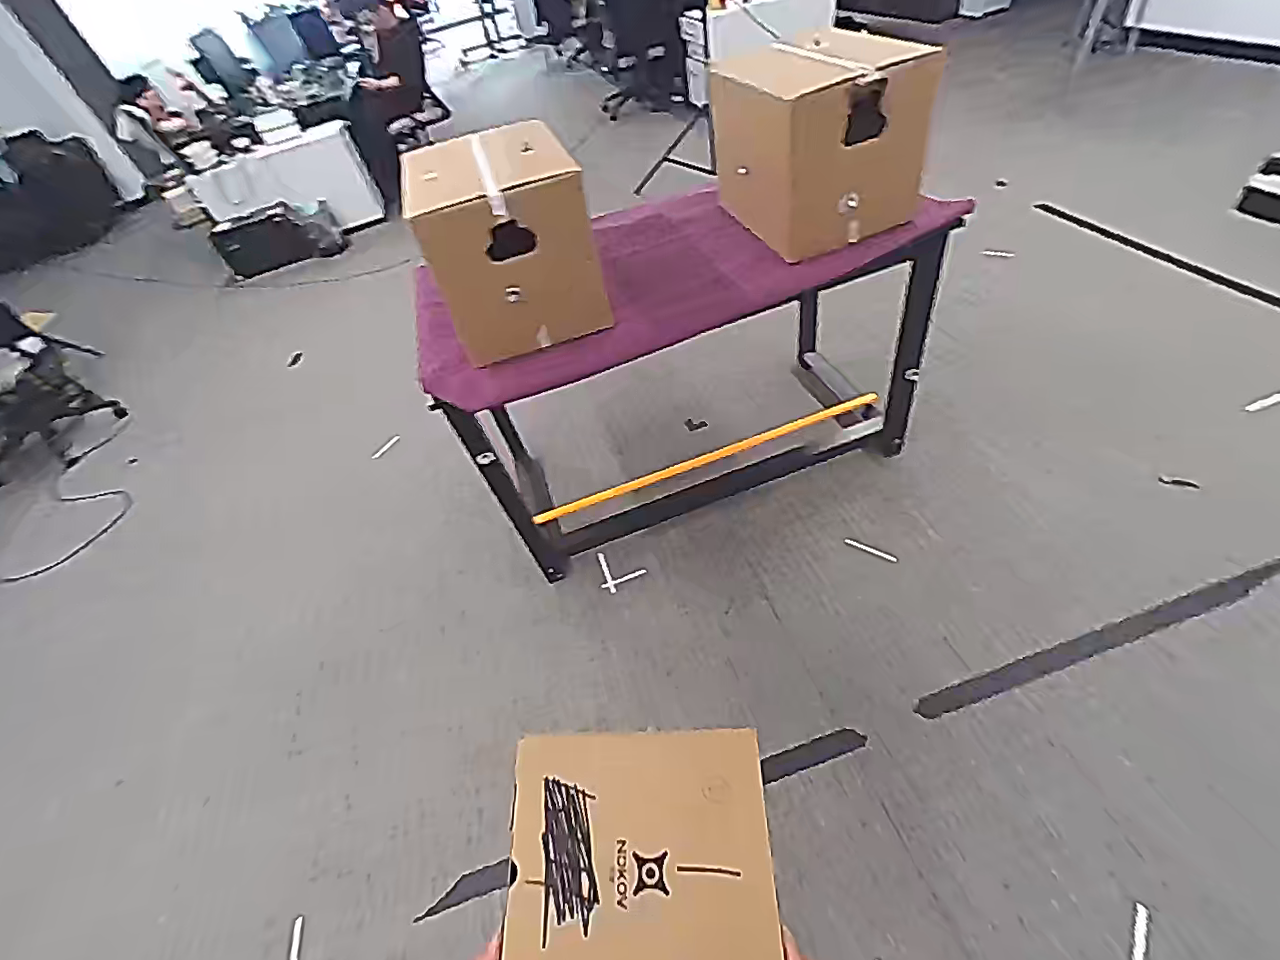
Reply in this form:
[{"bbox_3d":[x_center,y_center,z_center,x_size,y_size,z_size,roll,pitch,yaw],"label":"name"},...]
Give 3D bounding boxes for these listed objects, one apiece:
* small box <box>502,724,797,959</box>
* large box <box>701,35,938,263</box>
[{"bbox_3d":[0.011,0.287,0.407,0.179,0.176,0.168,-3,57,3],"label":"small box"},{"bbox_3d":[0.372,-0.742,1.206,0.320,0.320,0.408,-20,46,-5],"label":"large box"}]
